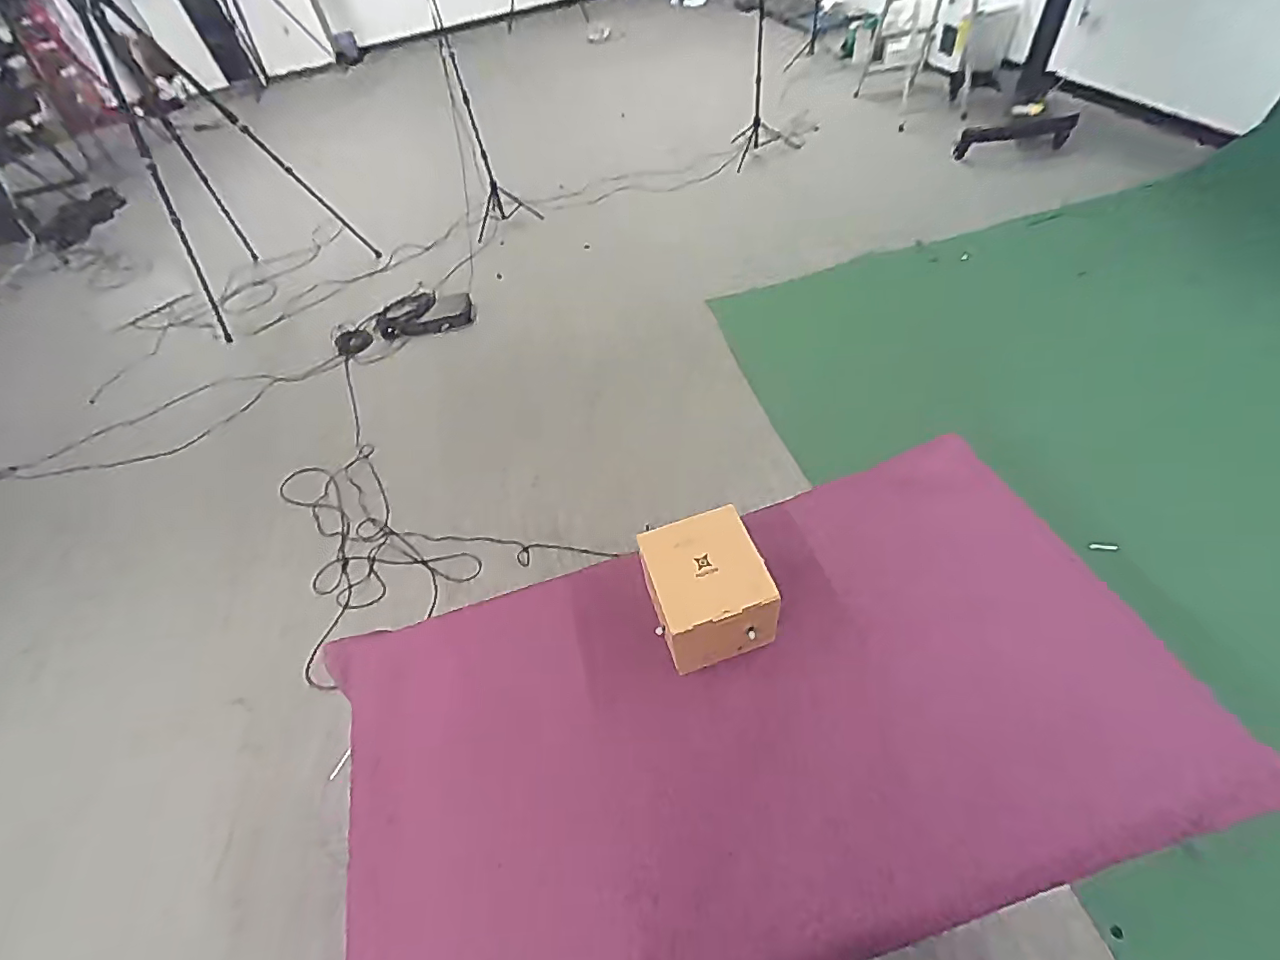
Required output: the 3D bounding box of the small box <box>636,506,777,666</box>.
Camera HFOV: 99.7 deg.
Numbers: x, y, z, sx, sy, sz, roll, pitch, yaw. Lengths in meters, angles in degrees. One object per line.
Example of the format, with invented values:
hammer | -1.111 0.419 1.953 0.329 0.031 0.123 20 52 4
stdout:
small box | 0.104 0.177 0.862 0.168 0.176 0.179 -18 51 -5
